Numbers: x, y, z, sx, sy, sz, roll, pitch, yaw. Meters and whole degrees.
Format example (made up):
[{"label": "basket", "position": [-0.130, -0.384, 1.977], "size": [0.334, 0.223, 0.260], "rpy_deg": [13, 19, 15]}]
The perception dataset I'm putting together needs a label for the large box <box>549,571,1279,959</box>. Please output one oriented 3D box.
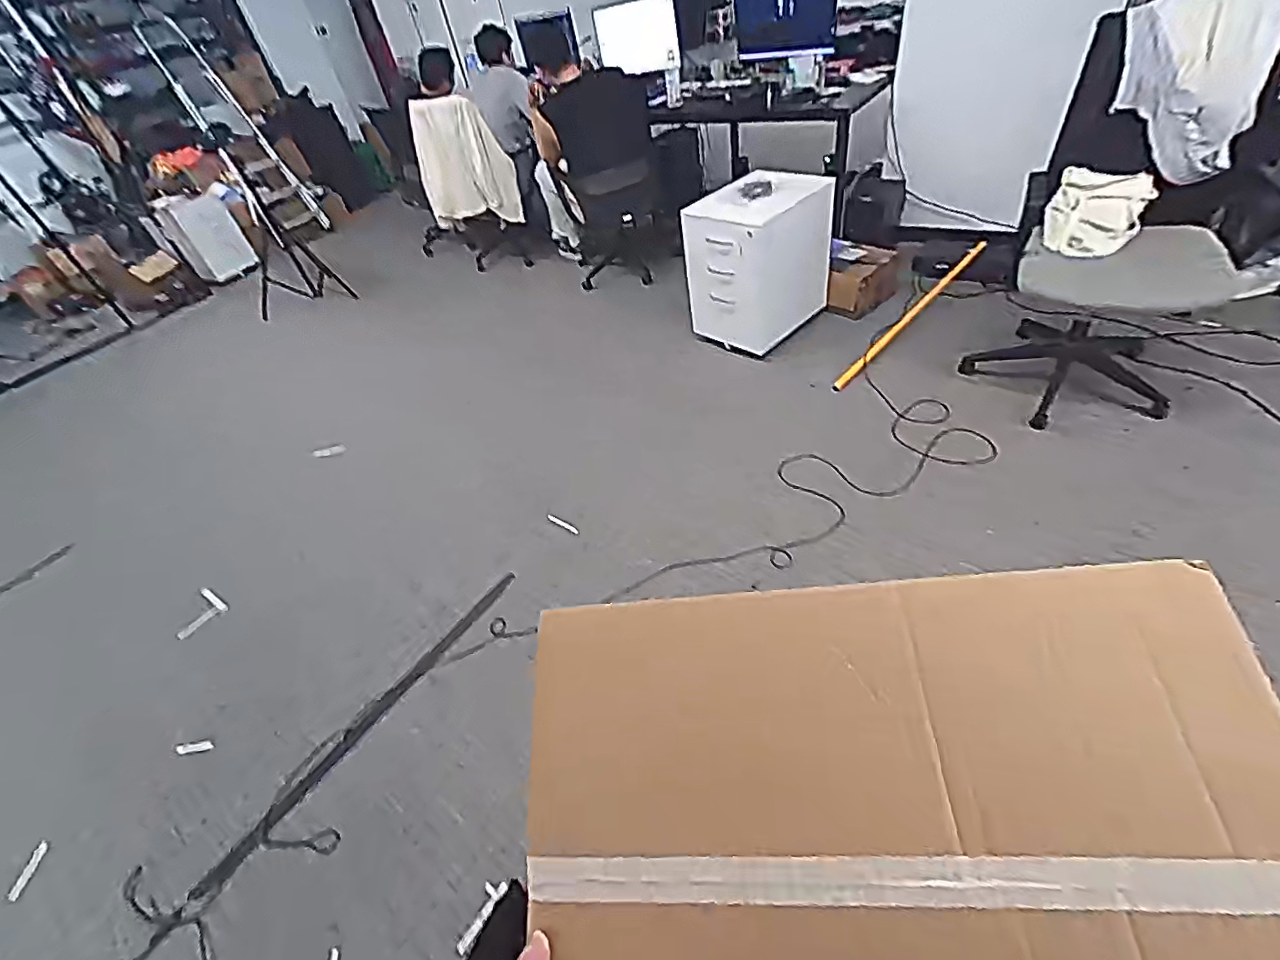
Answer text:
[{"label": "large box", "position": [0.170, 0.279, 0.425], "size": [0.408, 0.320, 0.320], "rpy_deg": [-7, 65, 11]}]
